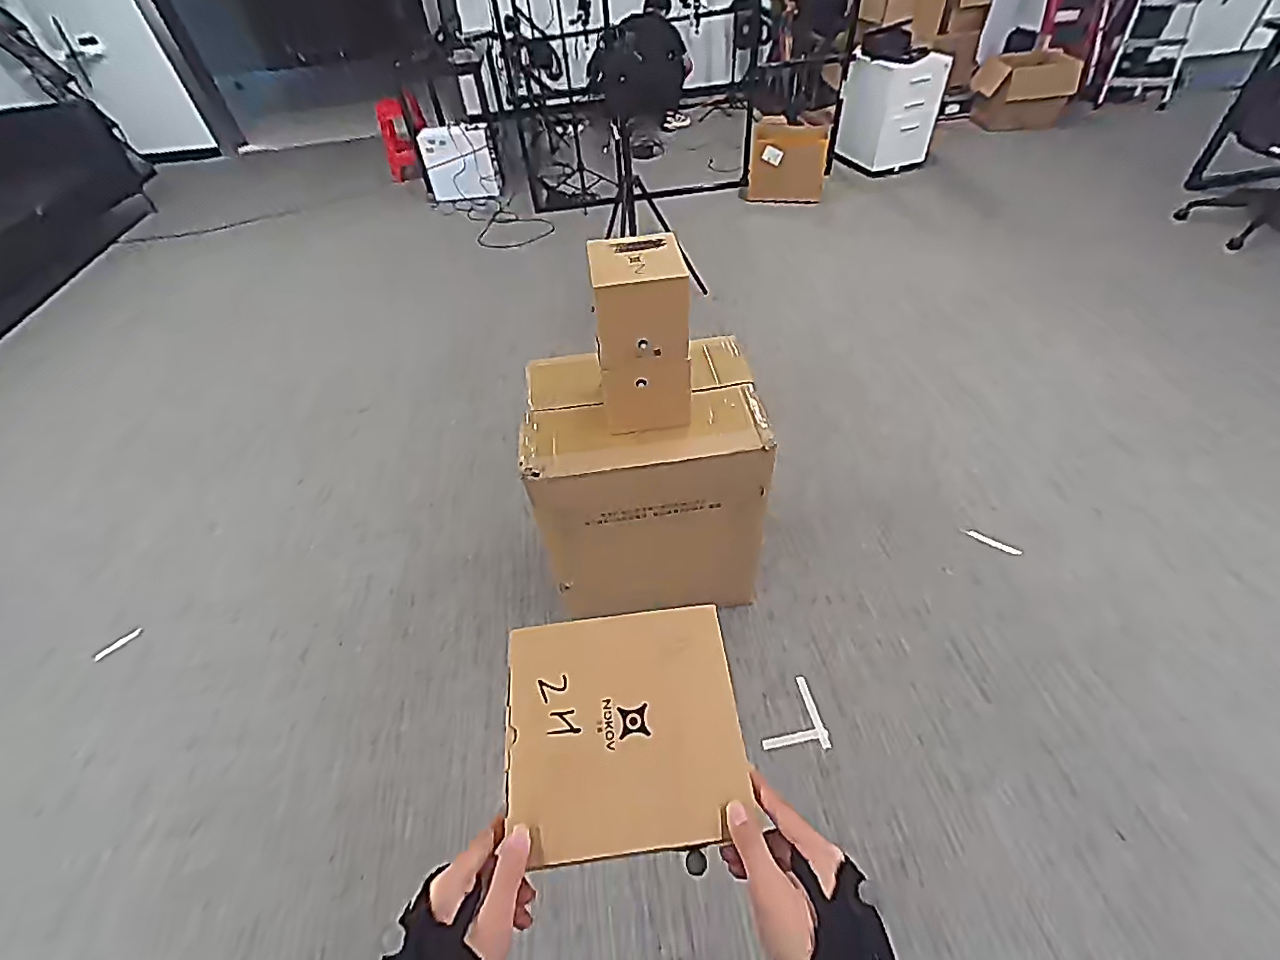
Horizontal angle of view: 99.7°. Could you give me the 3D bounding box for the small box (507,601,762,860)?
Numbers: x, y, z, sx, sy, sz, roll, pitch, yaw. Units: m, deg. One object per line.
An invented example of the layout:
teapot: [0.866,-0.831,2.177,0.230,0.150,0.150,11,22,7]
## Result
small box: [-0.009,0.221,0.472,0.179,0.176,0.168,-7,55,-2]

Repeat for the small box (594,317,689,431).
small box: [0.005,-0.218,1.133,0.179,0.176,0.168,-7,47,-2]
